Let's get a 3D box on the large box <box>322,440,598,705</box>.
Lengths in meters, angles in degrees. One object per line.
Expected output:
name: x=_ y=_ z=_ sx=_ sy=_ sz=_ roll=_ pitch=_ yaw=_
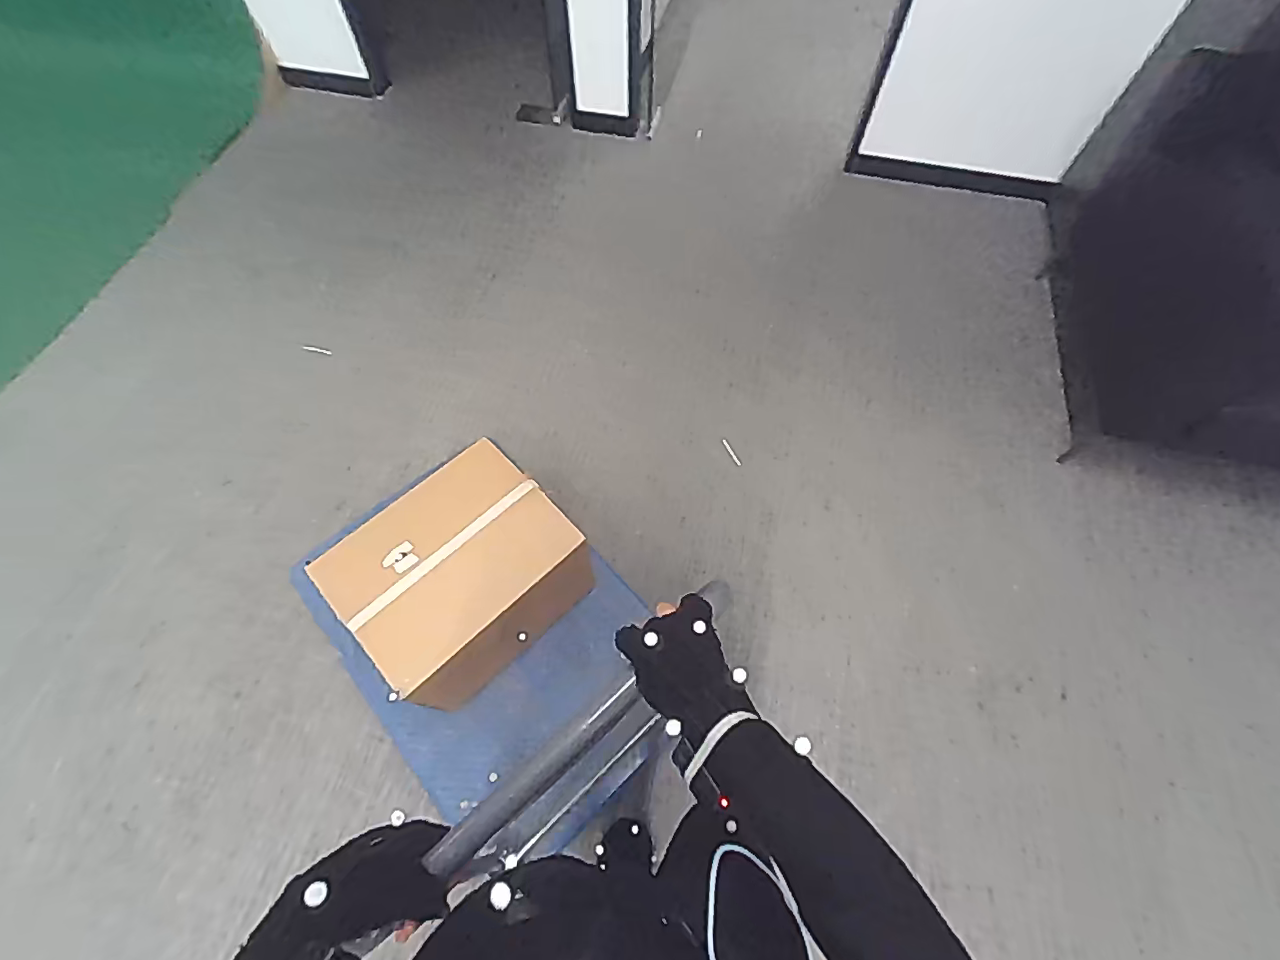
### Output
large box: x=-0.338 y=0.201 z=1.136 sx=0.320 sy=0.320 sz=0.408 roll=41 pitch=70 yaw=19
